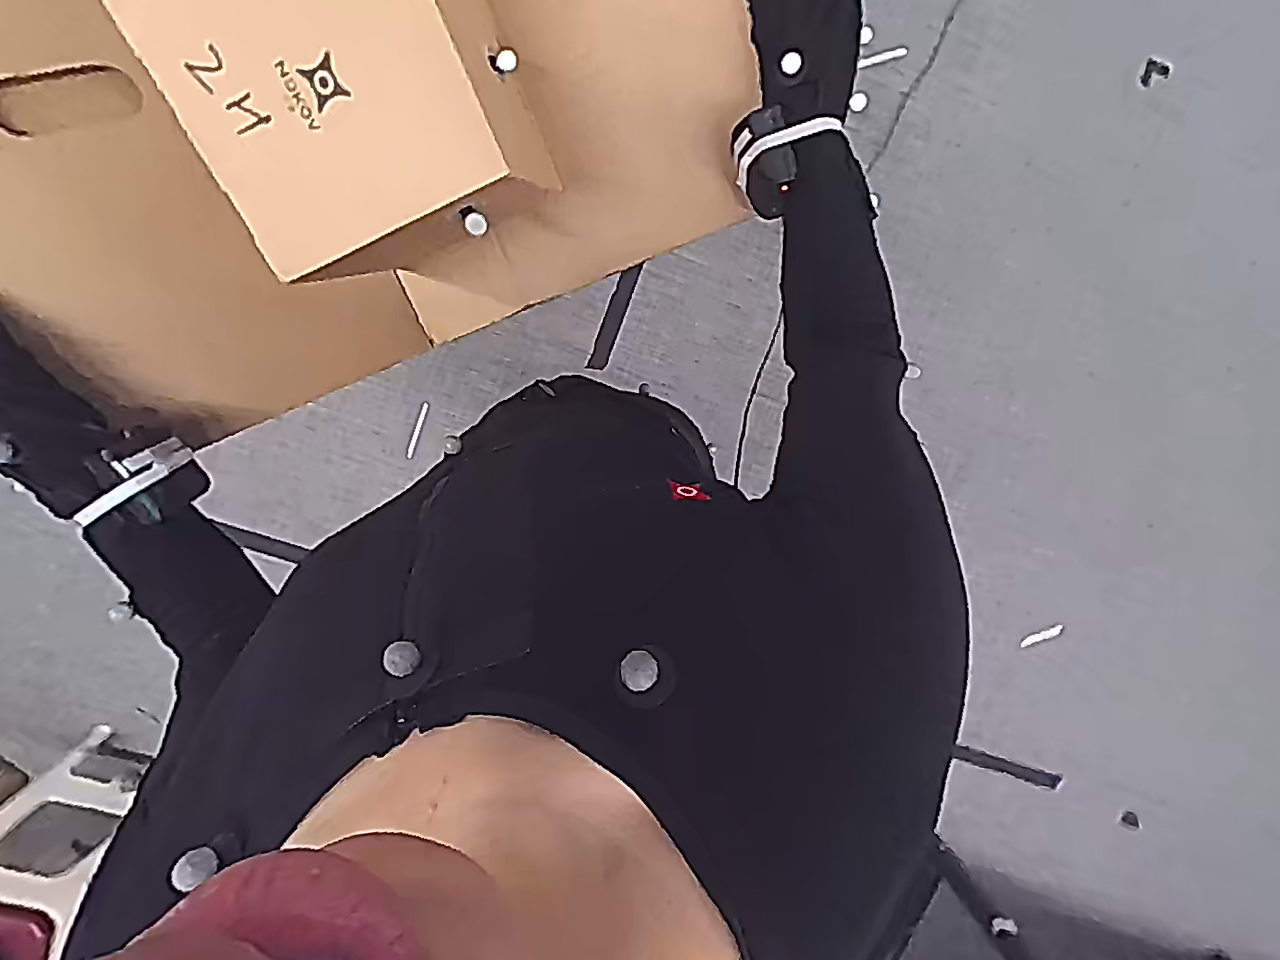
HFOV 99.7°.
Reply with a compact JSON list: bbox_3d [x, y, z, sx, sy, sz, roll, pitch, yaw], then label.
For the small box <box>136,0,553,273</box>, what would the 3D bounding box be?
[{"bbox_3d":[-0.176,-0.268,0.393,0.179,0.176,0.168,-17,112,12],"label":"small box"}]
